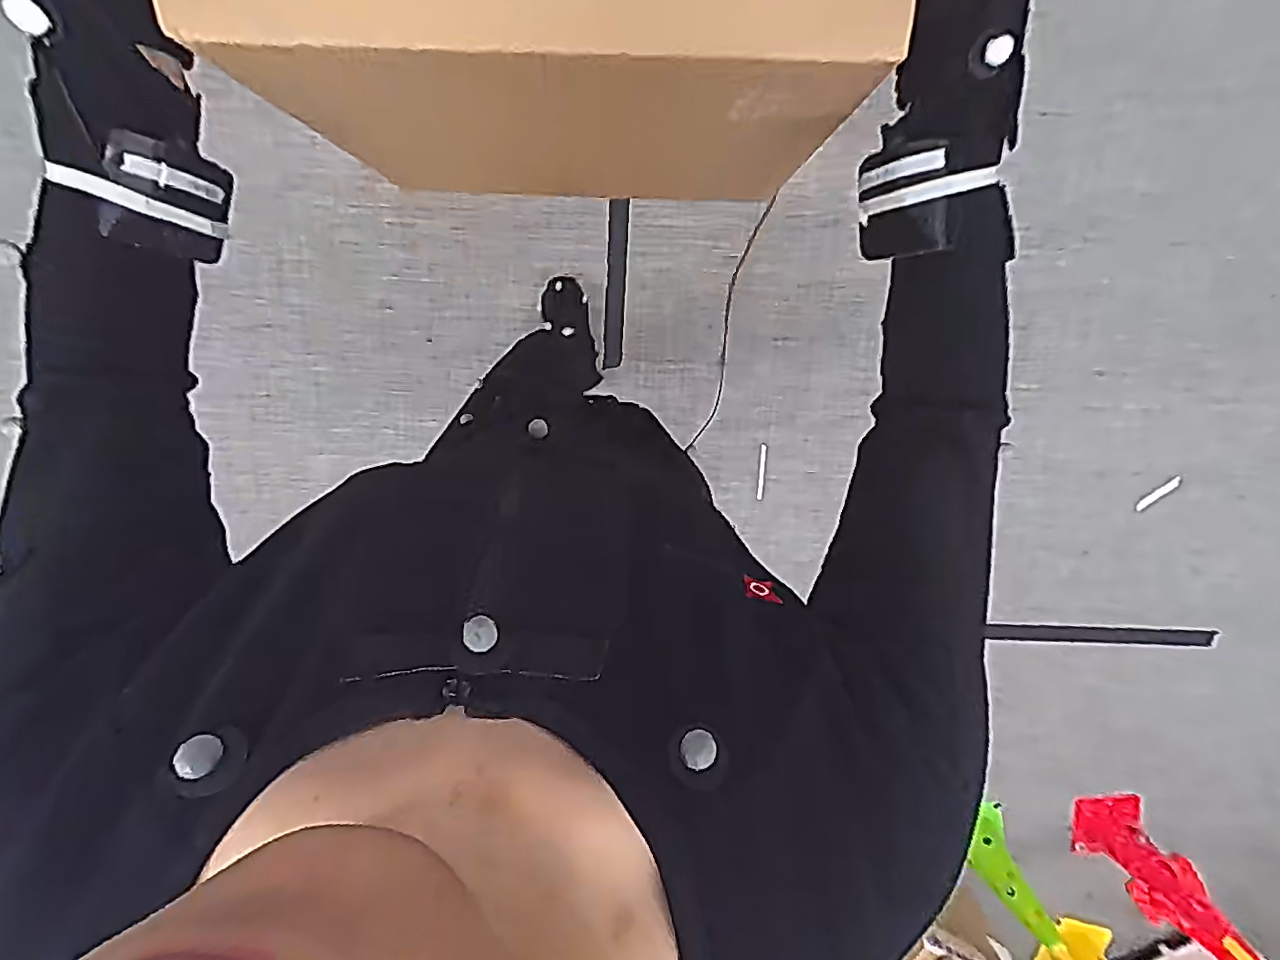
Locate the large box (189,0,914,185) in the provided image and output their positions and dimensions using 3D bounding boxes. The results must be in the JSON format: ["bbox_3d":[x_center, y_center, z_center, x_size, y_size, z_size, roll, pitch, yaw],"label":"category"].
[{"bbox_3d":[-0.051,-0.432,0.405,0.408,0.320,0.320,0,105,-2],"label":"large box"}]
